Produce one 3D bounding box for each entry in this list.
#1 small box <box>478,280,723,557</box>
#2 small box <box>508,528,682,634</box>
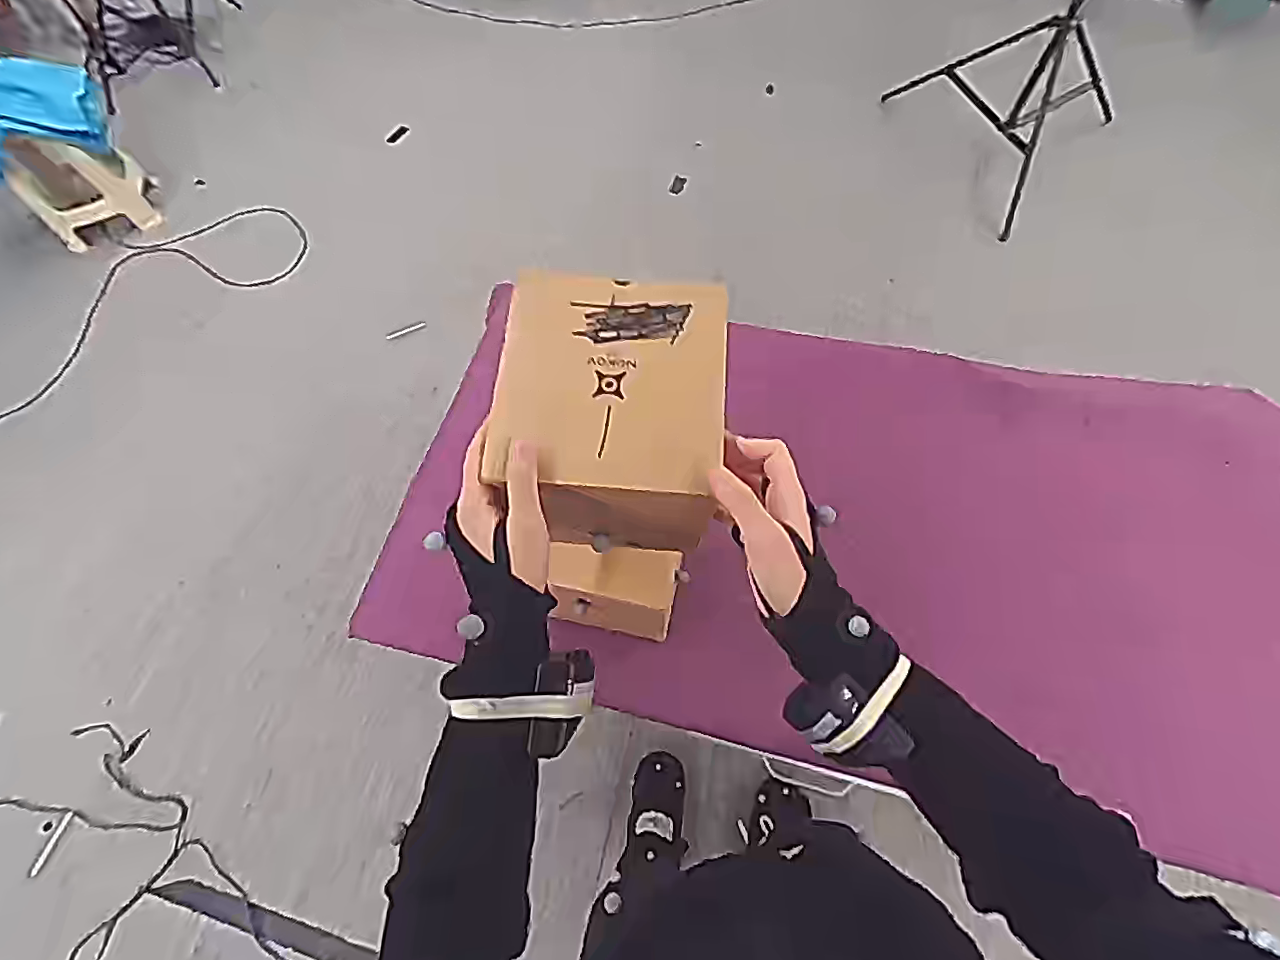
[{"bbox_3d":[-0.025,-0.043,0.473,0.168,0.176,0.179,5,69,1],"label":"small box"},{"bbox_3d":[-0.036,0.083,0.673,0.179,0.176,0.168,11,64,8],"label":"small box"}]
